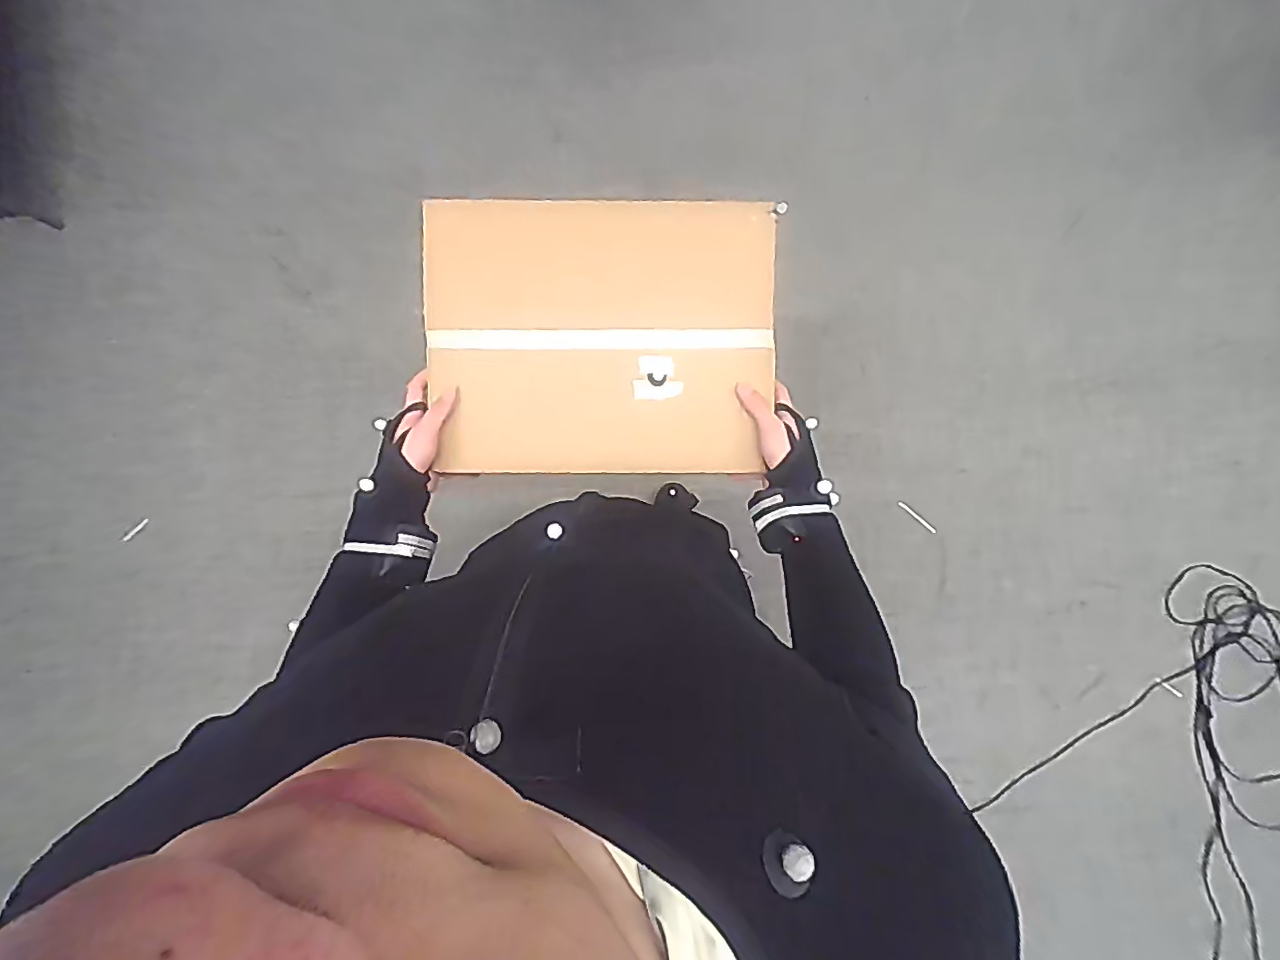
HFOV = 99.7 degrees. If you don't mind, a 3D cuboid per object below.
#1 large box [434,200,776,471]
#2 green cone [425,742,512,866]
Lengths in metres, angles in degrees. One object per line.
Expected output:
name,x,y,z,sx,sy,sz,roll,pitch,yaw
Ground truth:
large box,-0.041,-0.181,0.785,0.408,0.320,0.320,-1,95,-1
green cone,-0.495,0.899,1.469,0.200,0.368,0.202,3,90,1
